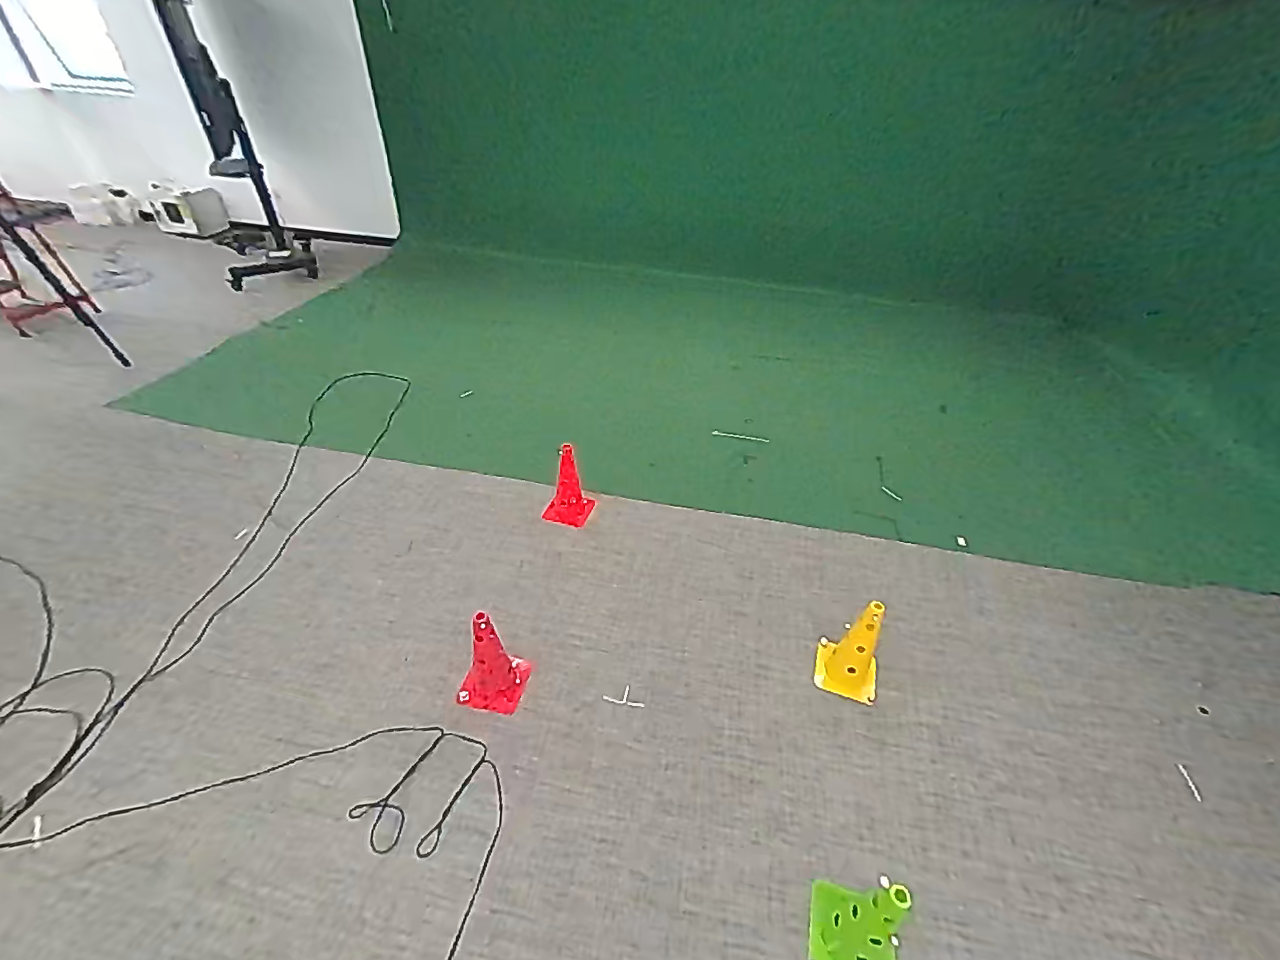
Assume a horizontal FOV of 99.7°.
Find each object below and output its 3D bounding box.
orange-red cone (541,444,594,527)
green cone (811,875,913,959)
[{"bbox_3d":[-0.323,0.001,2.345,0.199,0.360,0.198,12,39,13],"label":"orange-red cone"},{"bbox_3d":[0.529,0.974,1.207,0.200,0.368,0.202,13,39,11],"label":"green cone"}]
